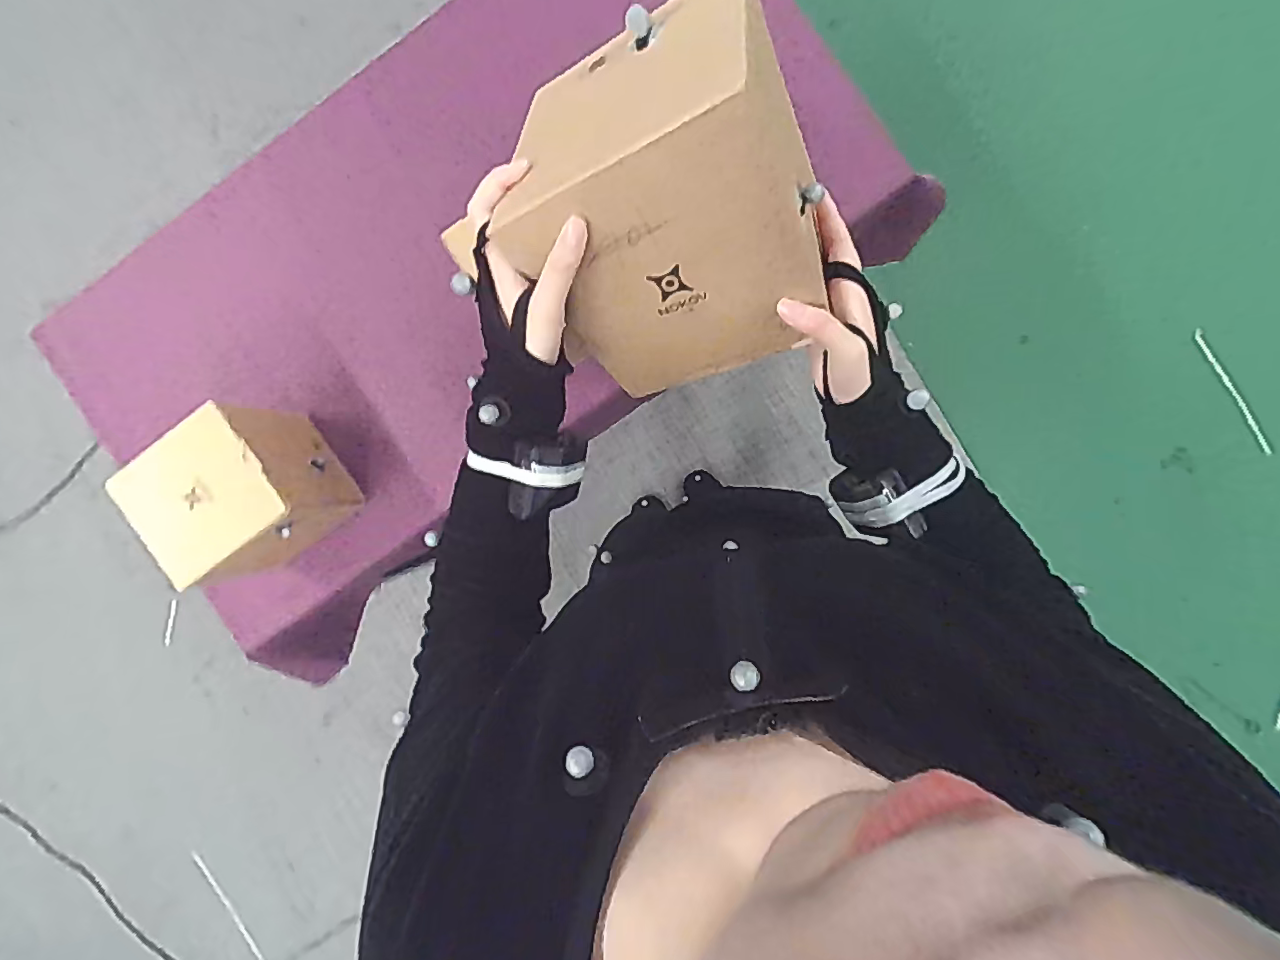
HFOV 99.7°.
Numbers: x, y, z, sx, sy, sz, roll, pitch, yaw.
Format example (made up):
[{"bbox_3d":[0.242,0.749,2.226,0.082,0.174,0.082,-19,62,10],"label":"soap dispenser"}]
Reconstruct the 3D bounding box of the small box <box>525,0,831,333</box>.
[{"bbox_3d":[0.044,-0.246,0.412,0.168,0.176,0.179,-10,132,19],"label":"small box"}]
